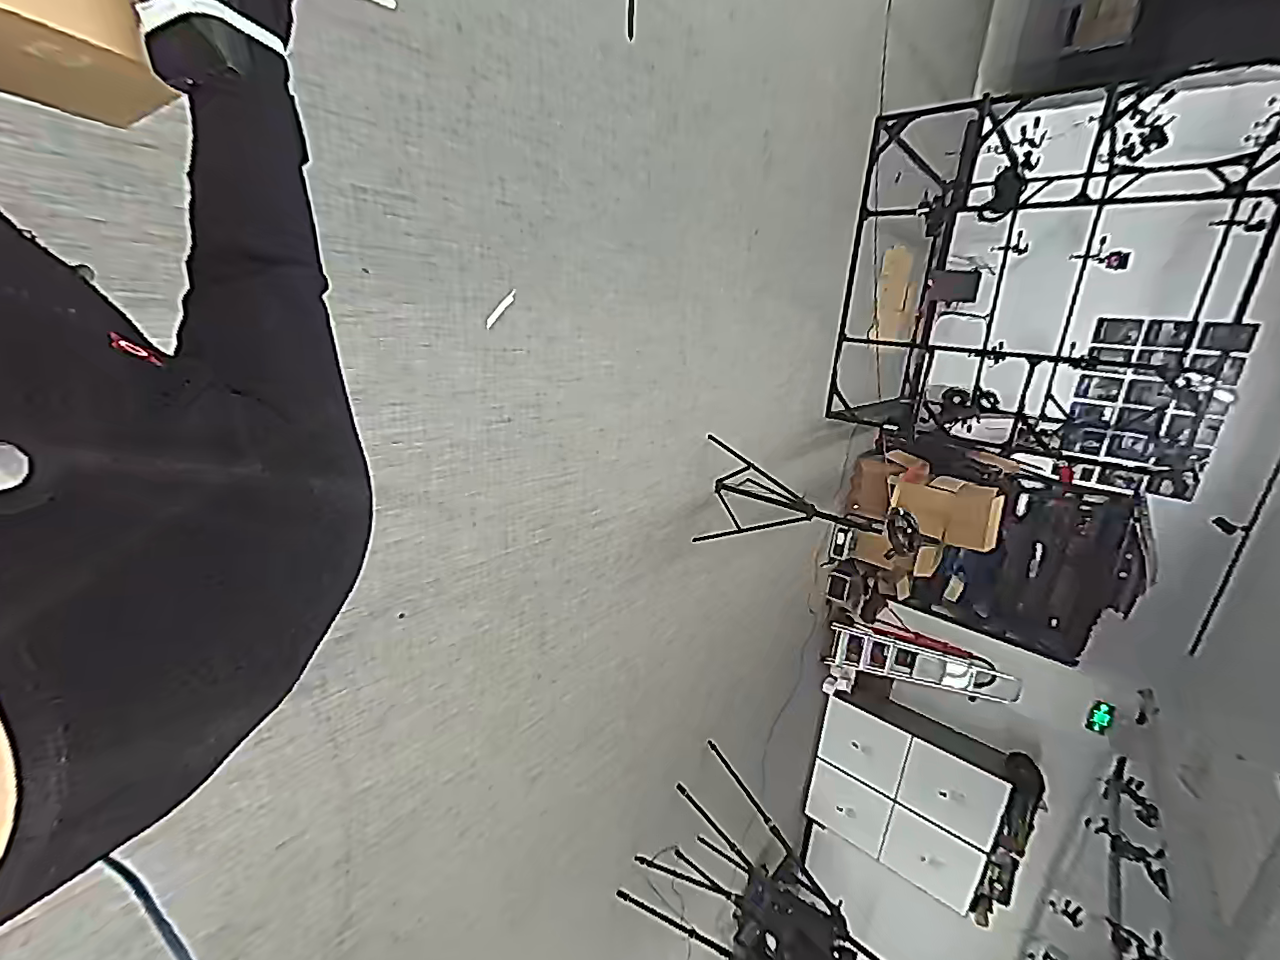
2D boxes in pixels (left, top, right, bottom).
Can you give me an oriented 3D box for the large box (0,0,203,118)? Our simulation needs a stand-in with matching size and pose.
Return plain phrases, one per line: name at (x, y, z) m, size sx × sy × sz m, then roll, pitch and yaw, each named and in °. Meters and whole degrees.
large box at (-0.544, -0.472, 0.304) m, size 0.408 × 0.320 × 0.320 m, roll -7°, pitch 112°, yaw -51°
